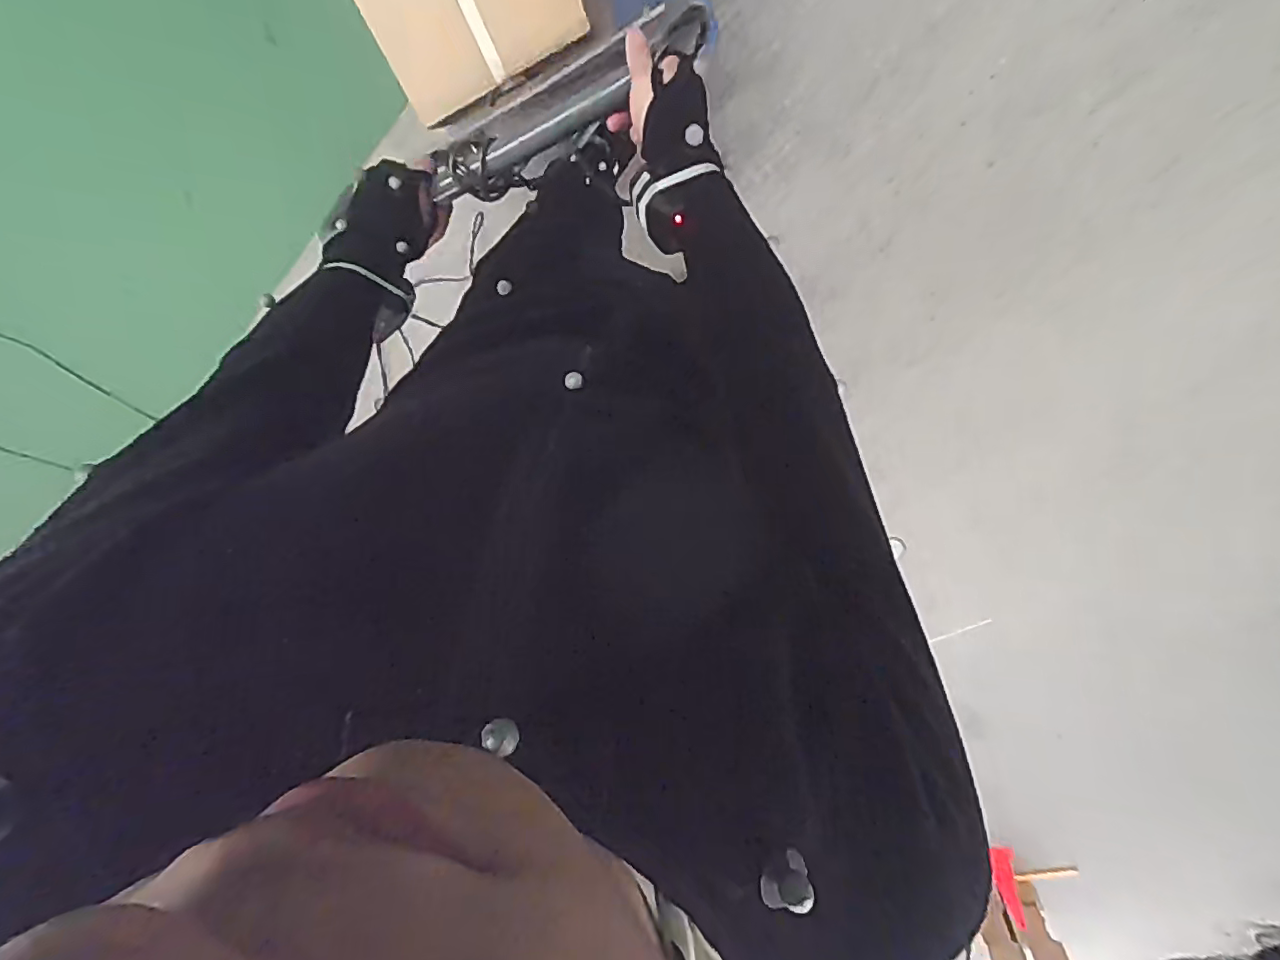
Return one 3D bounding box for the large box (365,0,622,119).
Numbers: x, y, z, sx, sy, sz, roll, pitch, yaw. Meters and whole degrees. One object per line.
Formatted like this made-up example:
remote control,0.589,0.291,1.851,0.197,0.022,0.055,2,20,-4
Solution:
large box,-0.263,-0.861,0.849,0.320,0.320,0.408,-16,122,18
